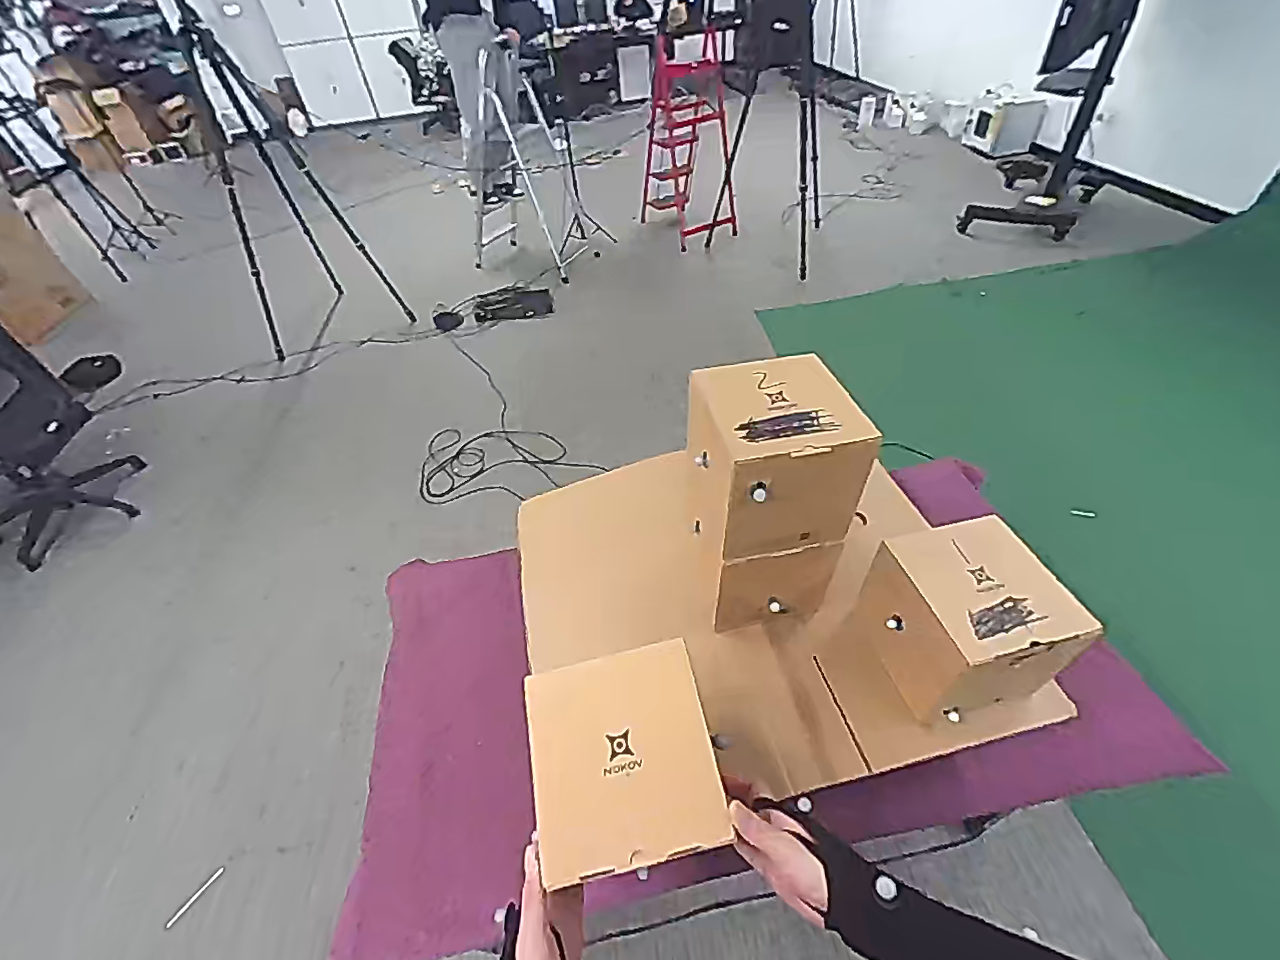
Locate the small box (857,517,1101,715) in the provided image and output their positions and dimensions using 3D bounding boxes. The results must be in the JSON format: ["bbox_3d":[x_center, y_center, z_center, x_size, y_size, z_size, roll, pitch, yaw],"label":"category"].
[{"bbox_3d":[0.407,0.178,0.688,0.168,0.176,0.179,-11,45,-8],"label":"small box"}]

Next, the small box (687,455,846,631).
[{"bbox_3d":[0.167,0.090,0.786,0.168,0.176,0.179,-10,46,-7],"label":"small box"}]
